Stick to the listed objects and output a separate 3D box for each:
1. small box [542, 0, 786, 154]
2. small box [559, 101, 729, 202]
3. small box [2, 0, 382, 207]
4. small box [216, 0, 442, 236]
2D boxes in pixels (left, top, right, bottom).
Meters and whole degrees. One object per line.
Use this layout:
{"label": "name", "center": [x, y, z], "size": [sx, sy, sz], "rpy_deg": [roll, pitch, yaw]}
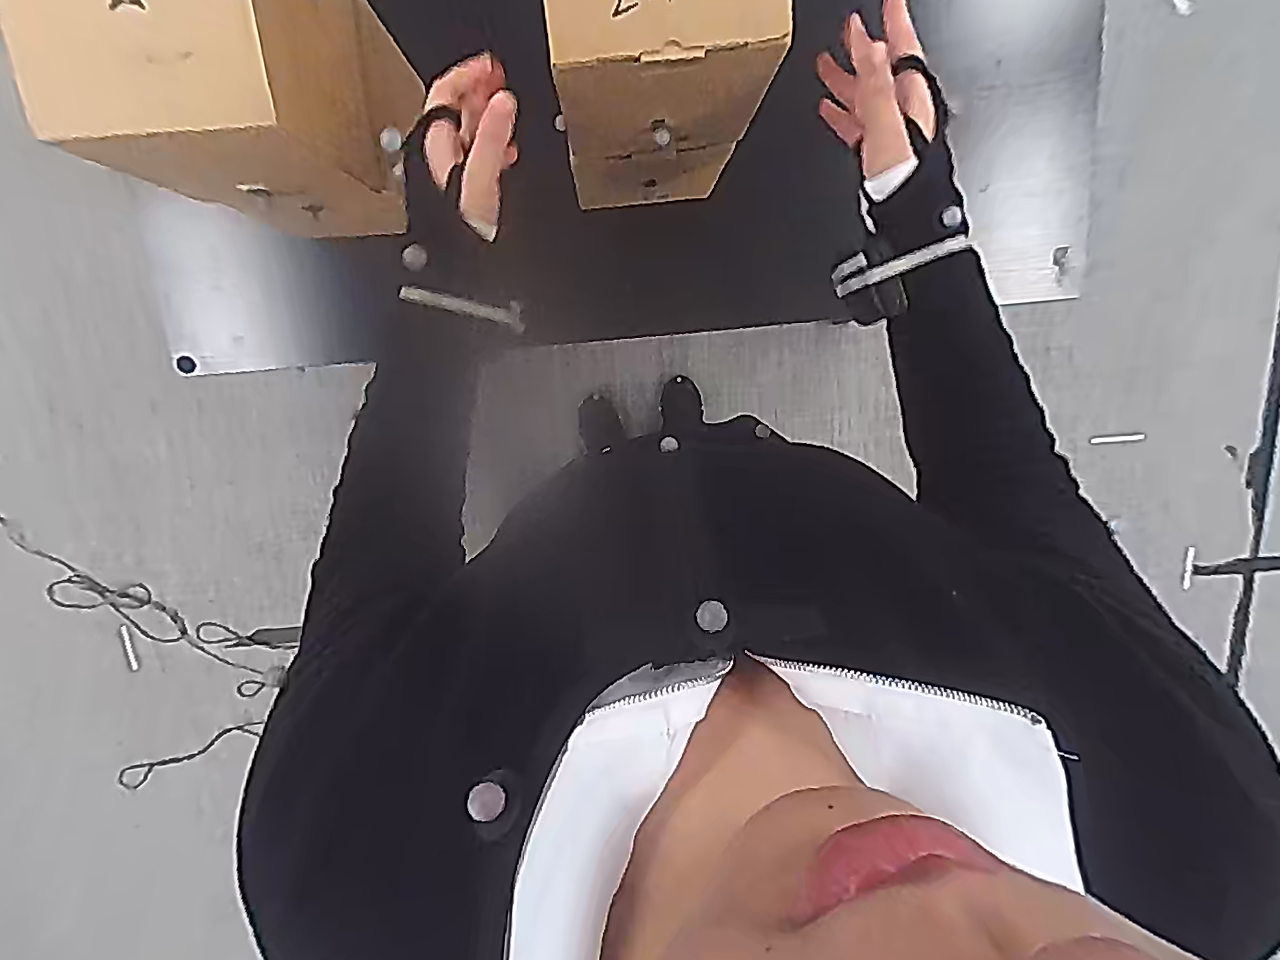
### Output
{"label": "small box", "center": [0.007, -0.392, 0.428], "size": [0.168, 0.176, 0.179], "rpy_deg": [-6, 101, 0]}
{"label": "small box", "center": [-0.002, -0.421, 0.592], "size": [0.168, 0.176, 0.179], "rpy_deg": [-6, 102, -1]}
{"label": "small box", "center": [-0.331, -0.338, 0.427], "size": [0.168, 0.176, 0.179], "rpy_deg": [-5, 103, 0]}
{"label": "small box", "center": [-0.336, -0.373, 0.586], "size": [0.179, 0.176, 0.168], "rpy_deg": [-4, 102, -3]}
